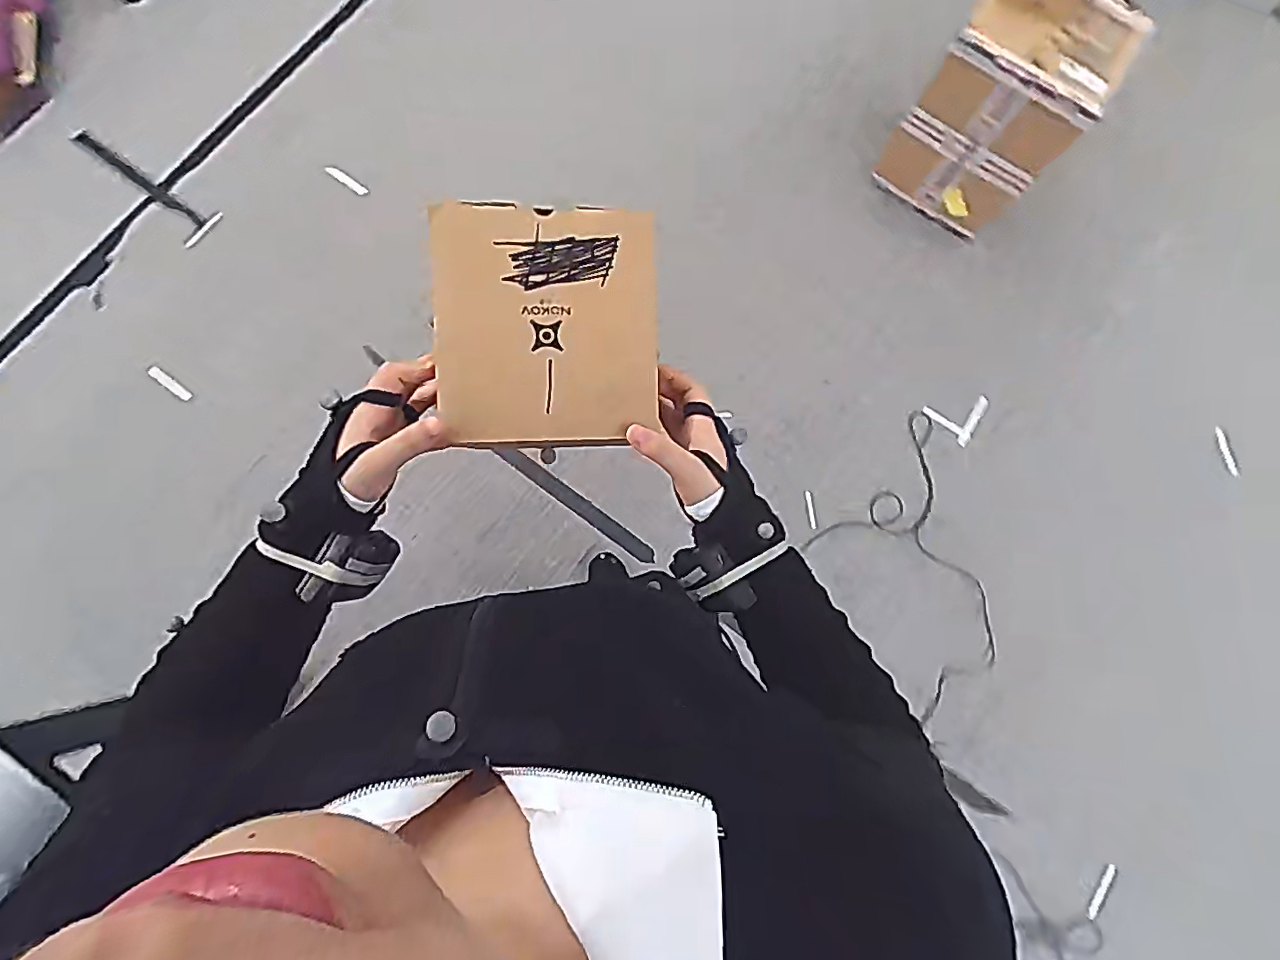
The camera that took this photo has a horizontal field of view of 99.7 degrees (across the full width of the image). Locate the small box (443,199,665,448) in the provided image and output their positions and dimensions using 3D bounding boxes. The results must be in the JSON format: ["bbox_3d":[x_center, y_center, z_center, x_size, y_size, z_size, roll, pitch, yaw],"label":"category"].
[{"bbox_3d":[-0.073,-0.119,0.480,0.168,0.176,0.179,-1,92,-7],"label":"small box"}]

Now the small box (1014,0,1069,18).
[{"bbox_3d":[0.980,-1.242,1.250,0.168,0.176,0.179,31,83,6],"label":"small box"}]
